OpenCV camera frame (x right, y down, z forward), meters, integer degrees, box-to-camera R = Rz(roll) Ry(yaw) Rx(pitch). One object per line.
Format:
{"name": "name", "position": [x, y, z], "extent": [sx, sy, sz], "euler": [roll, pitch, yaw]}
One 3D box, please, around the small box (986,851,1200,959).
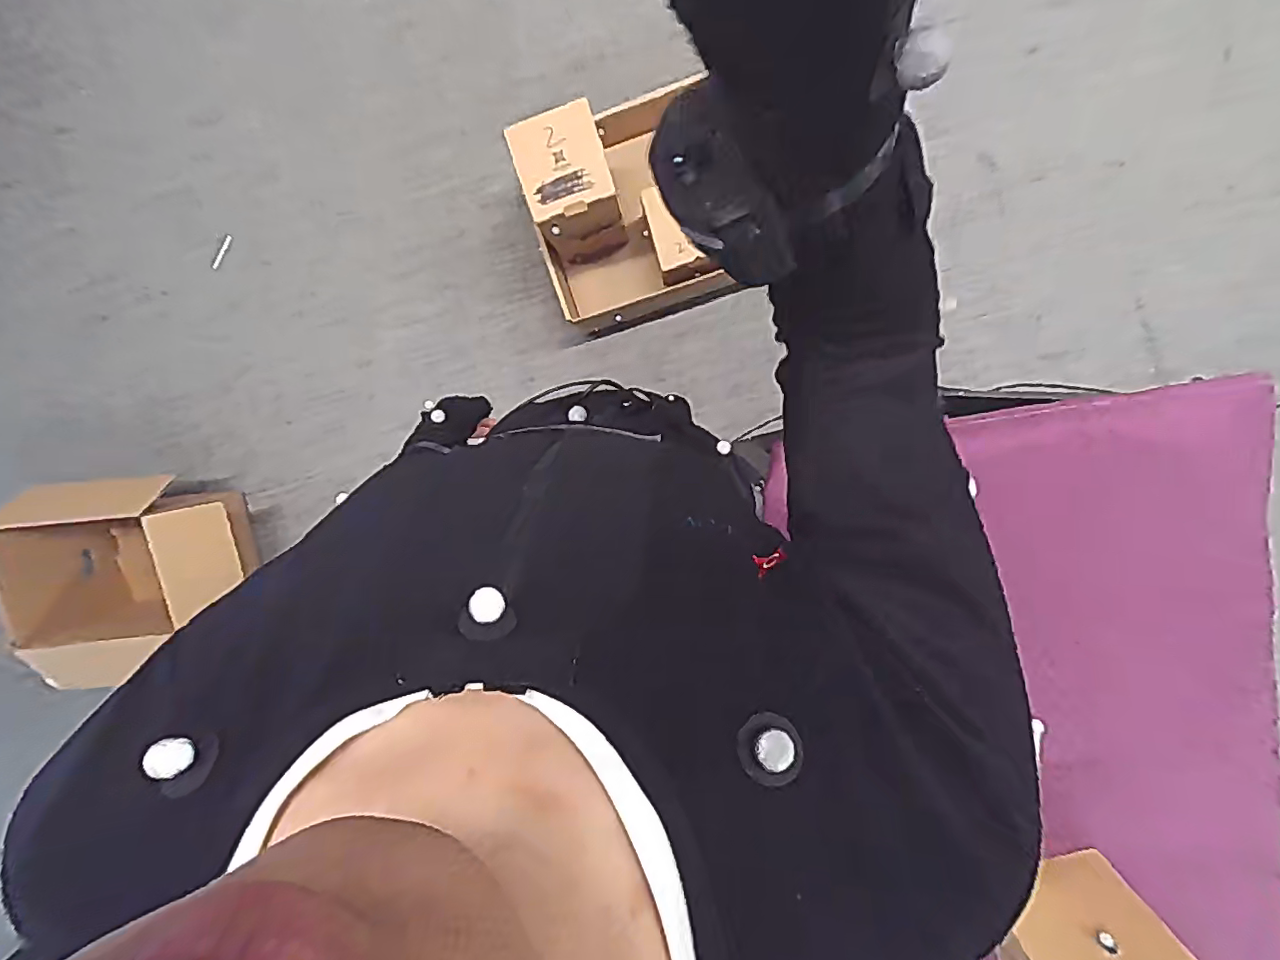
{"name": "small box", "position": [0.601, 0.649, 0.729], "extent": [0.179, 0.176, 0.168], "euler": [-17, 98, 5]}
